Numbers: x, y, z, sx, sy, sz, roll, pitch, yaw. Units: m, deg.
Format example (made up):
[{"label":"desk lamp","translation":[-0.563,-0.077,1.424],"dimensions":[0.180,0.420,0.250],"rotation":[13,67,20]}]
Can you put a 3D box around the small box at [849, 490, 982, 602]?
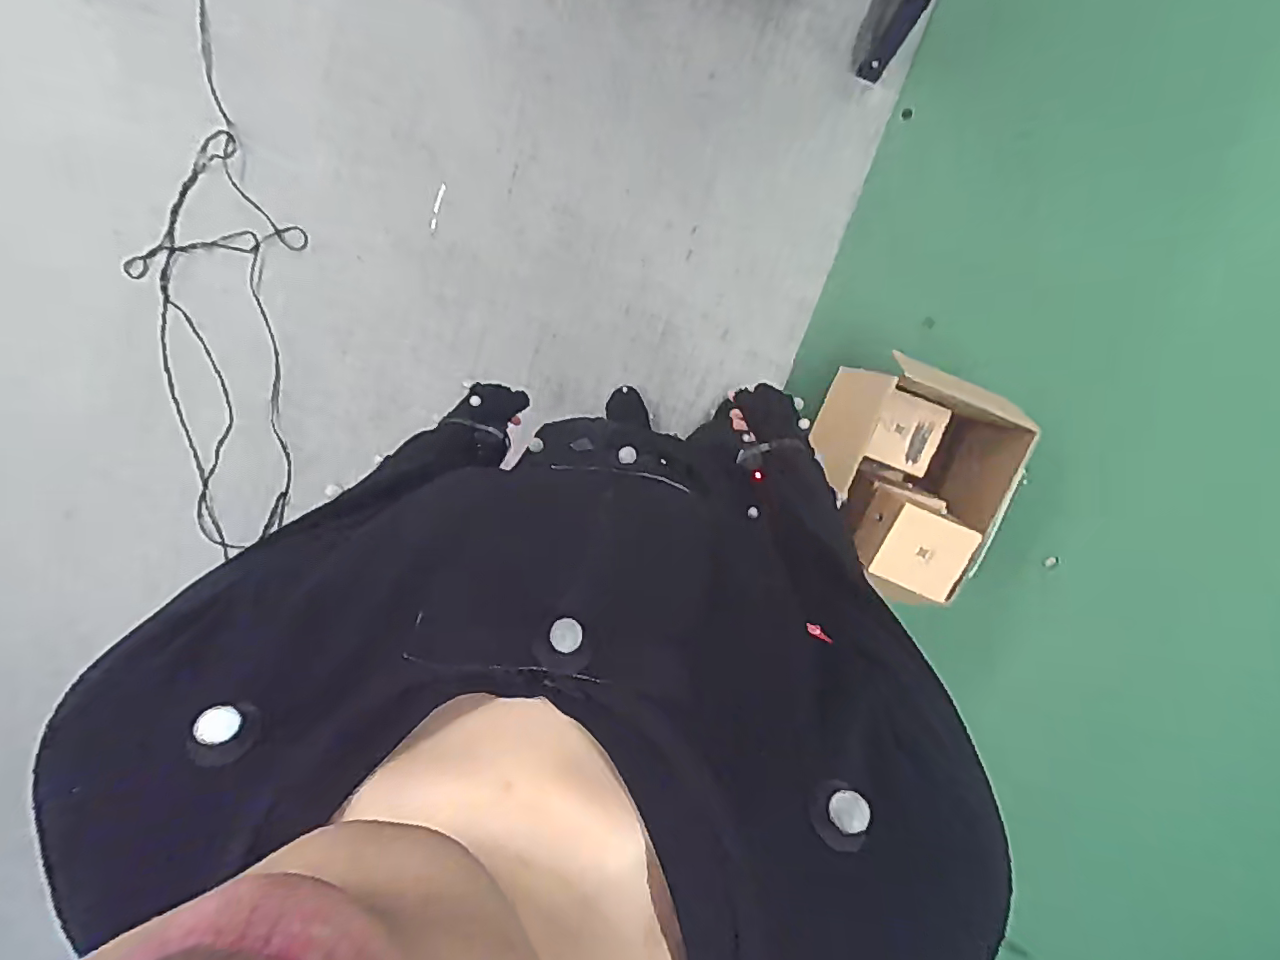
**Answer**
[{"label":"small box","translation":[0.589,0.134,1.187],"dimensions":[0.179,0.176,0.168],"rotation":[23,103,-1]}]
